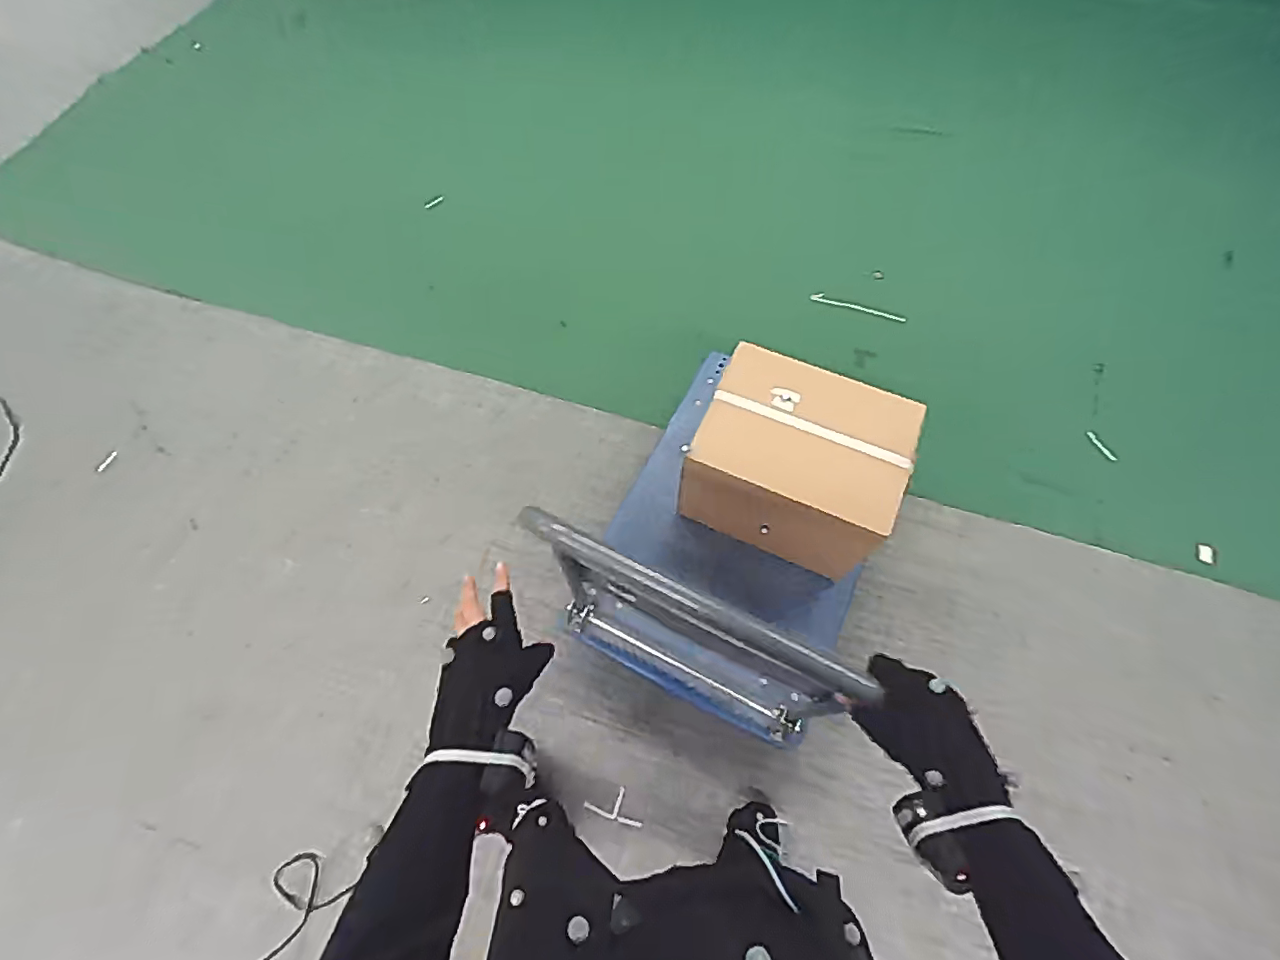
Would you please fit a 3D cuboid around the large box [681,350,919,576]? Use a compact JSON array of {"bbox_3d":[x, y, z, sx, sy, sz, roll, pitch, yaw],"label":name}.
[{"bbox_3d":[0.337,-0.027,1.220,0.408,0.320,0.320,22,66,12],"label":"large box"}]
